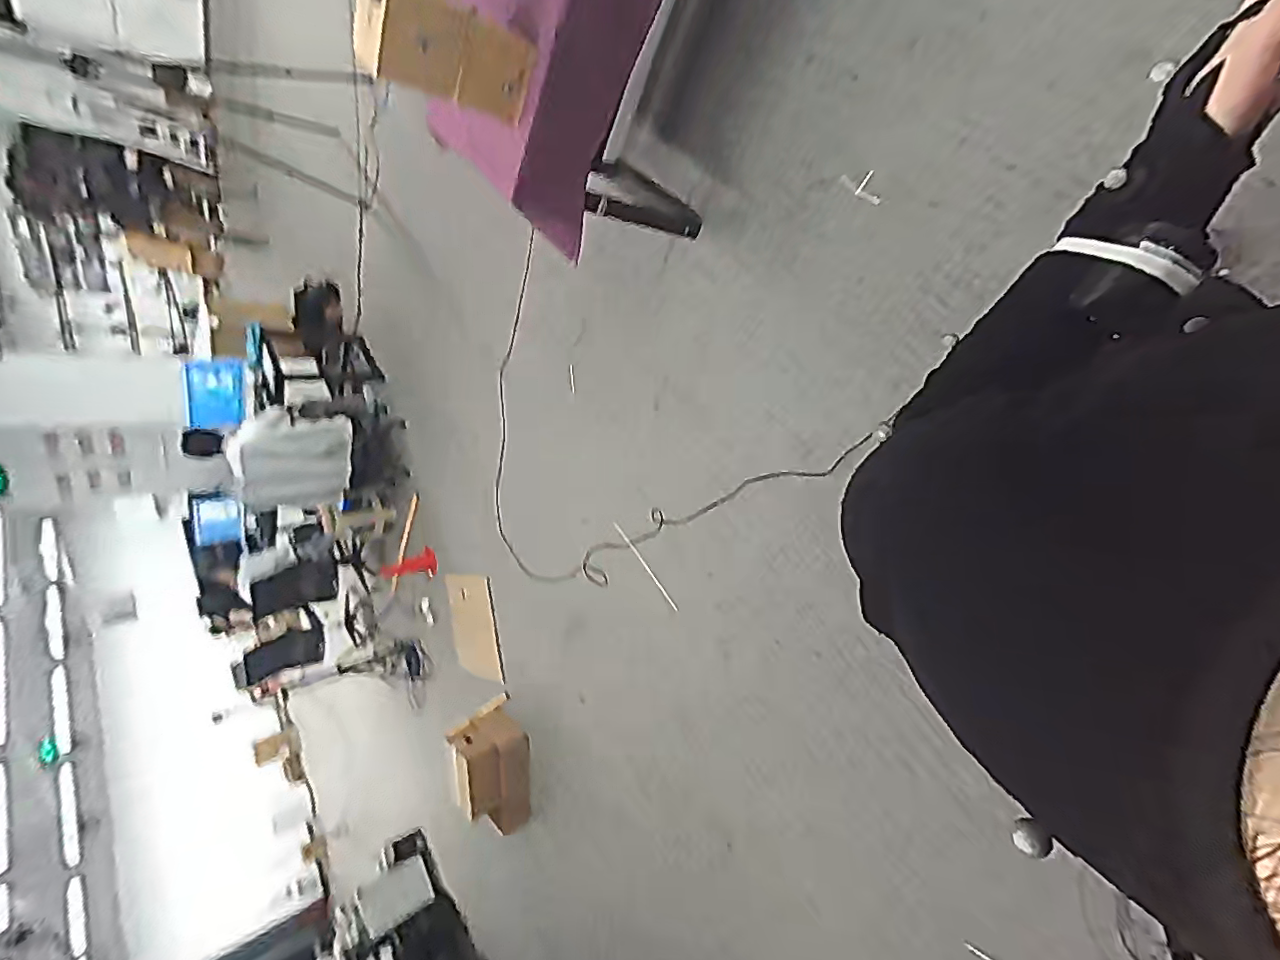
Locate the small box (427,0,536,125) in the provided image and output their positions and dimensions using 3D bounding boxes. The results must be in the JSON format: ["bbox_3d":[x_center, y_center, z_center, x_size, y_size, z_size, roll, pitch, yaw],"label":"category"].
[{"bbox_3d":[-0.375,-0.975,1.276,0.179,0.176,0.168,51,129,27],"label":"small box"}]
